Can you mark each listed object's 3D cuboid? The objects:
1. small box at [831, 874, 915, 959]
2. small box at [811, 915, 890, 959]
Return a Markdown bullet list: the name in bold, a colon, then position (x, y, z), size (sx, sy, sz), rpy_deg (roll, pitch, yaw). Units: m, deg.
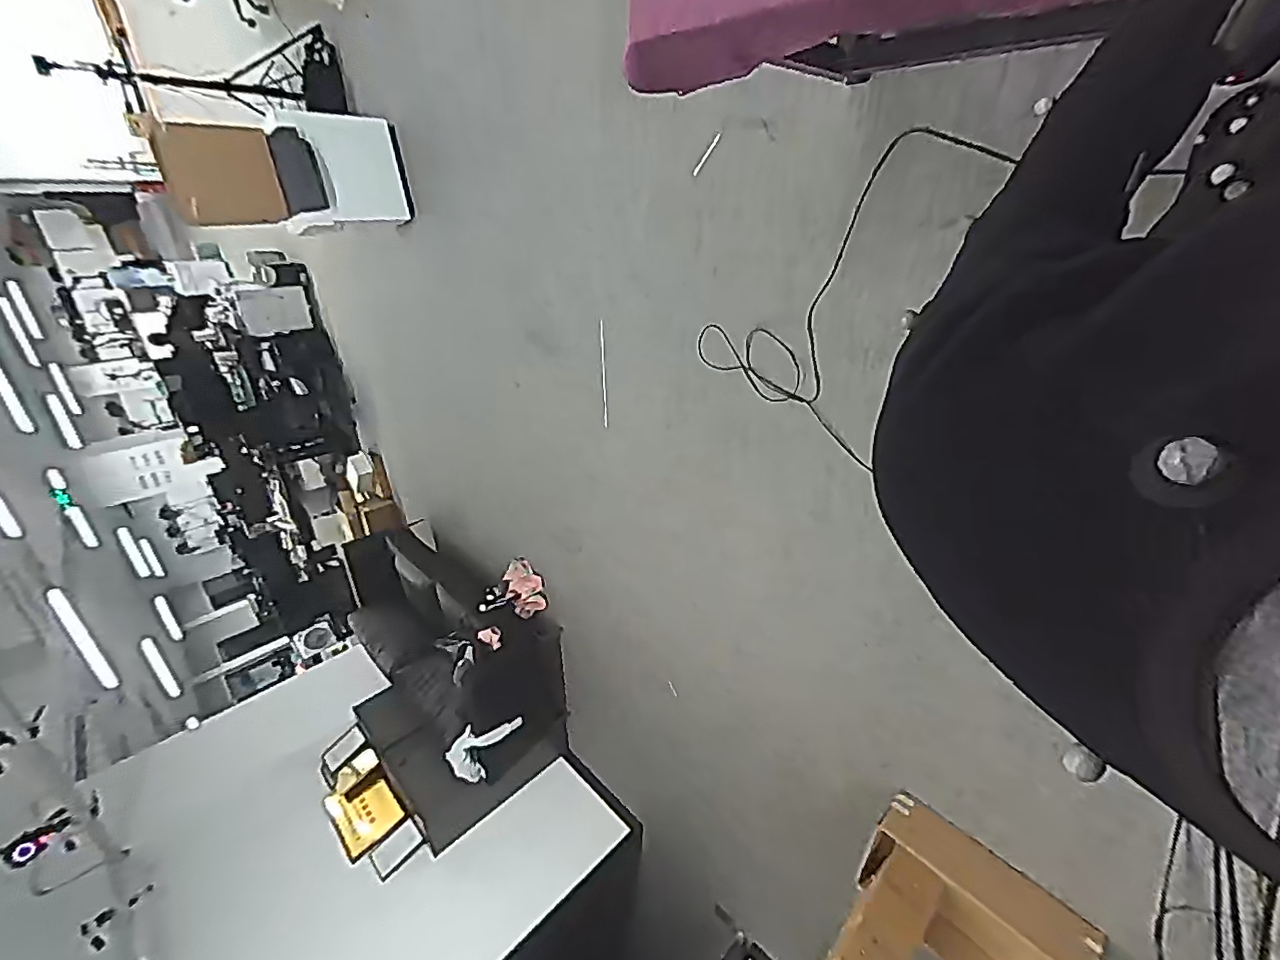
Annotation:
- **small box**: position (0.790, 1.493, 1.826), size (0.179, 0.176, 0.168), rpy_deg (37, 132, 31)
- **small box**: position (0.671, 1.544, 1.726), size (0.168, 0.176, 0.179), rpy_deg (40, 134, 30)
